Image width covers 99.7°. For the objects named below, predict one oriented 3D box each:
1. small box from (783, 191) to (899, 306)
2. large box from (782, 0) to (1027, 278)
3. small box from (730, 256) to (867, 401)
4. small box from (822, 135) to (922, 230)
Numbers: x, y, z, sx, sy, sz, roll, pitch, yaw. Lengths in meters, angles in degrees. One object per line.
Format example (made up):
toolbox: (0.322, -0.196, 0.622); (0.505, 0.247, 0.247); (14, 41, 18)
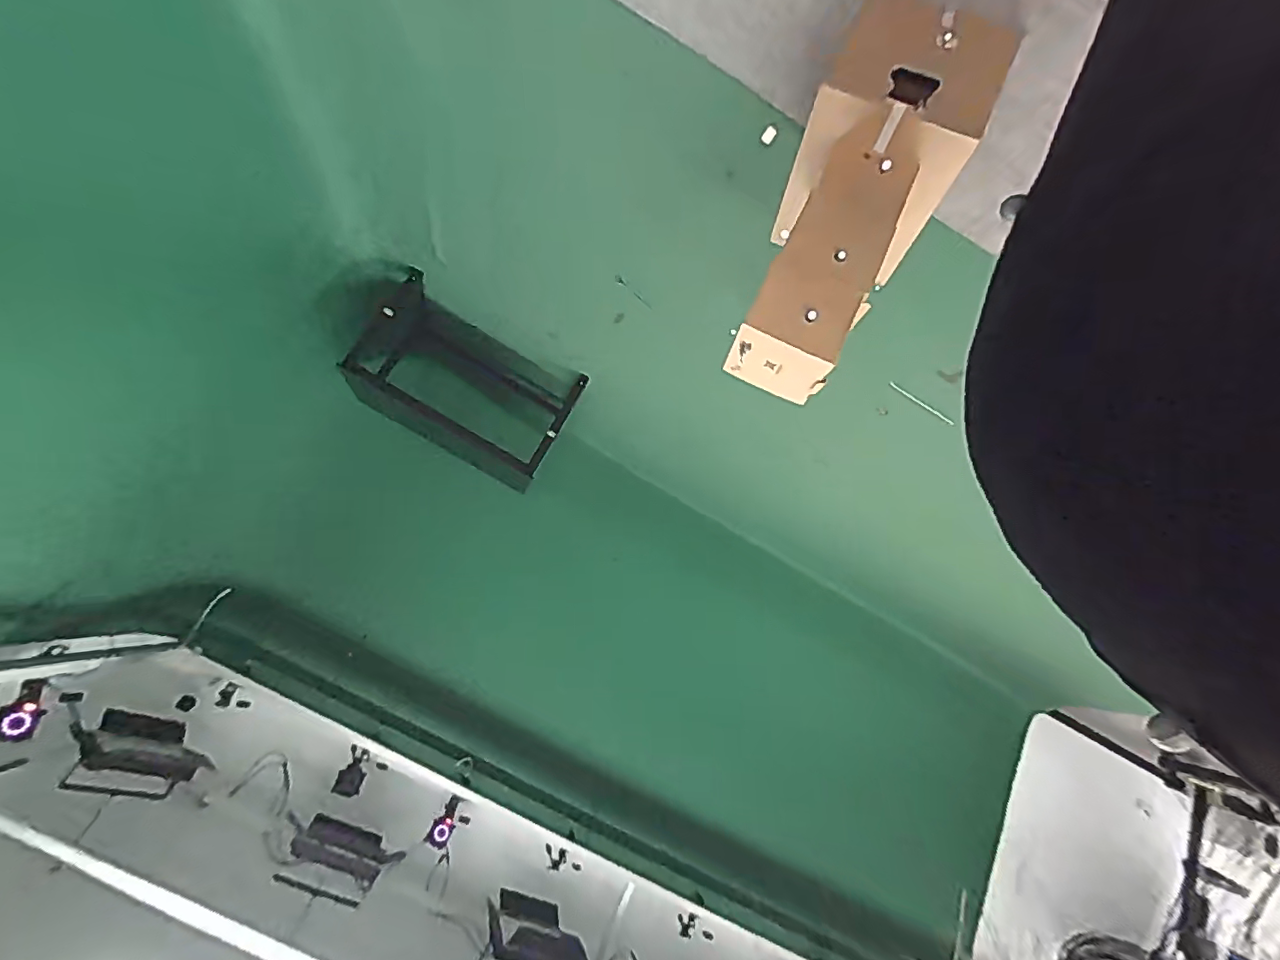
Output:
small box: (0.371, -0.422, 1.056); (0.179, 0.176, 0.168); (26, 163, 3)
large box: (0.559, -0.752, 1.211); (0.320, 0.320, 0.408); (27, 164, 9)
small box: (0.295, -0.283, 1.012); (0.179, 0.176, 0.168); (25, 162, 4)
small box: (0.447, -0.555, 1.114); (0.168, 0.176, 0.179); (25, 162, 5)
